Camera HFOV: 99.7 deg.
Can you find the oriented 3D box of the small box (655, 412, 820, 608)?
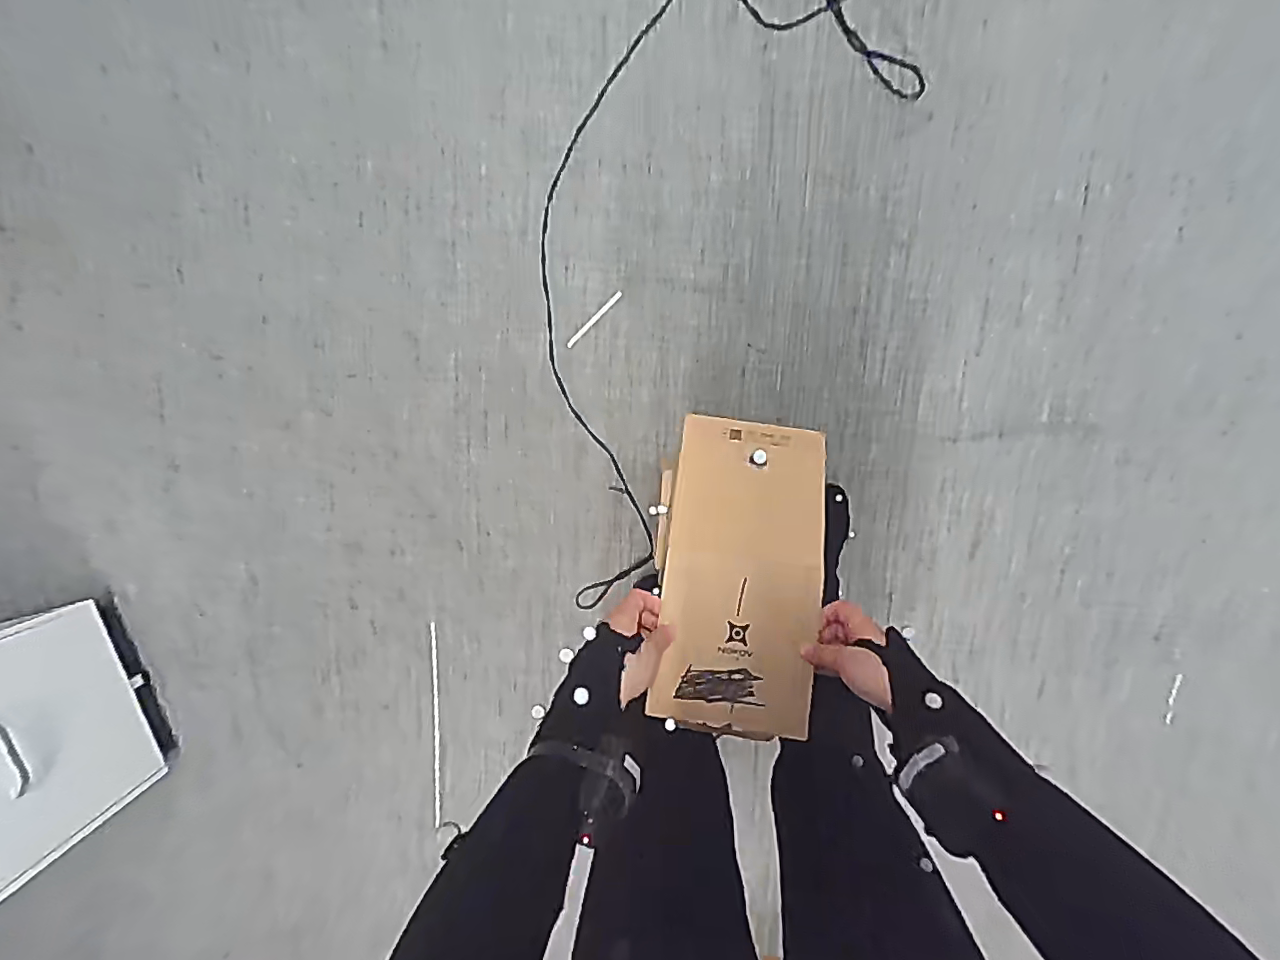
[{"bbox_3d":[0.116,0.042,0.662,0.168,0.179,0.176,9,64,2],"label":"small box"}]

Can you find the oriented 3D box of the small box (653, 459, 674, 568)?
[{"bbox_3d":[0.114,0.062,0.994,0.168,0.176,0.179,5,97,1],"label":"small box"}]
